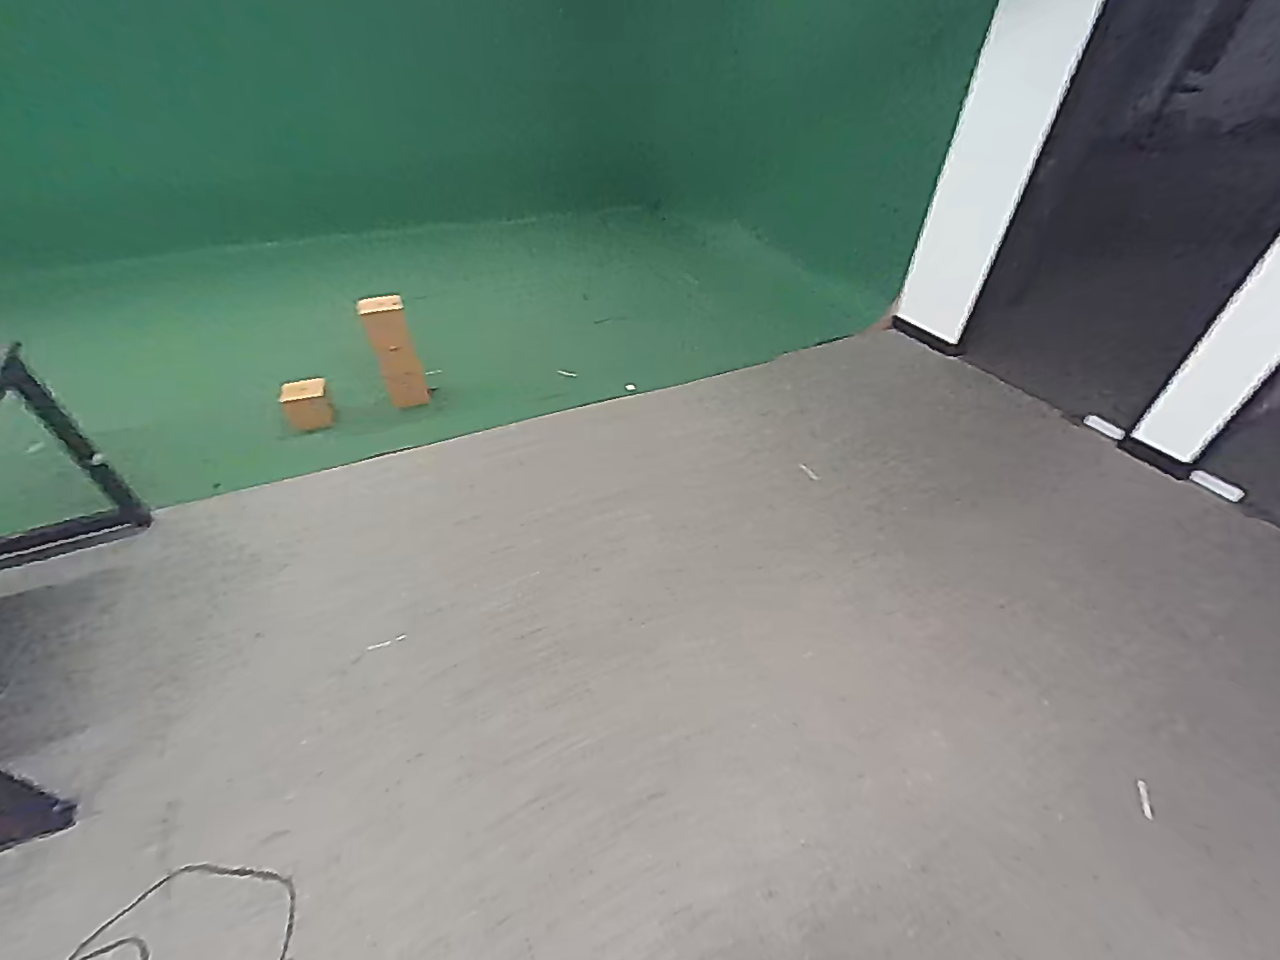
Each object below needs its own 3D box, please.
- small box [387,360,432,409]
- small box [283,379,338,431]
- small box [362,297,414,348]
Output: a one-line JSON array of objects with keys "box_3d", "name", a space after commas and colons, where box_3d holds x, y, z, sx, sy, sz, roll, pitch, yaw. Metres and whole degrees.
[{"box_3d": [-1.152, -0.477, 2.705, 0.179, 0.176, 0.168, -14, 44, -16], "name": "small box"}, {"box_3d": [-1.548, -0.353, 2.551, 0.179, 0.176, 0.168, -13, 43, -15], "name": "small box"}, {"box_3d": [-1.159, -0.722, 2.487, 0.179, 0.176, 0.168, -15, 43, -17], "name": "small box"}]
